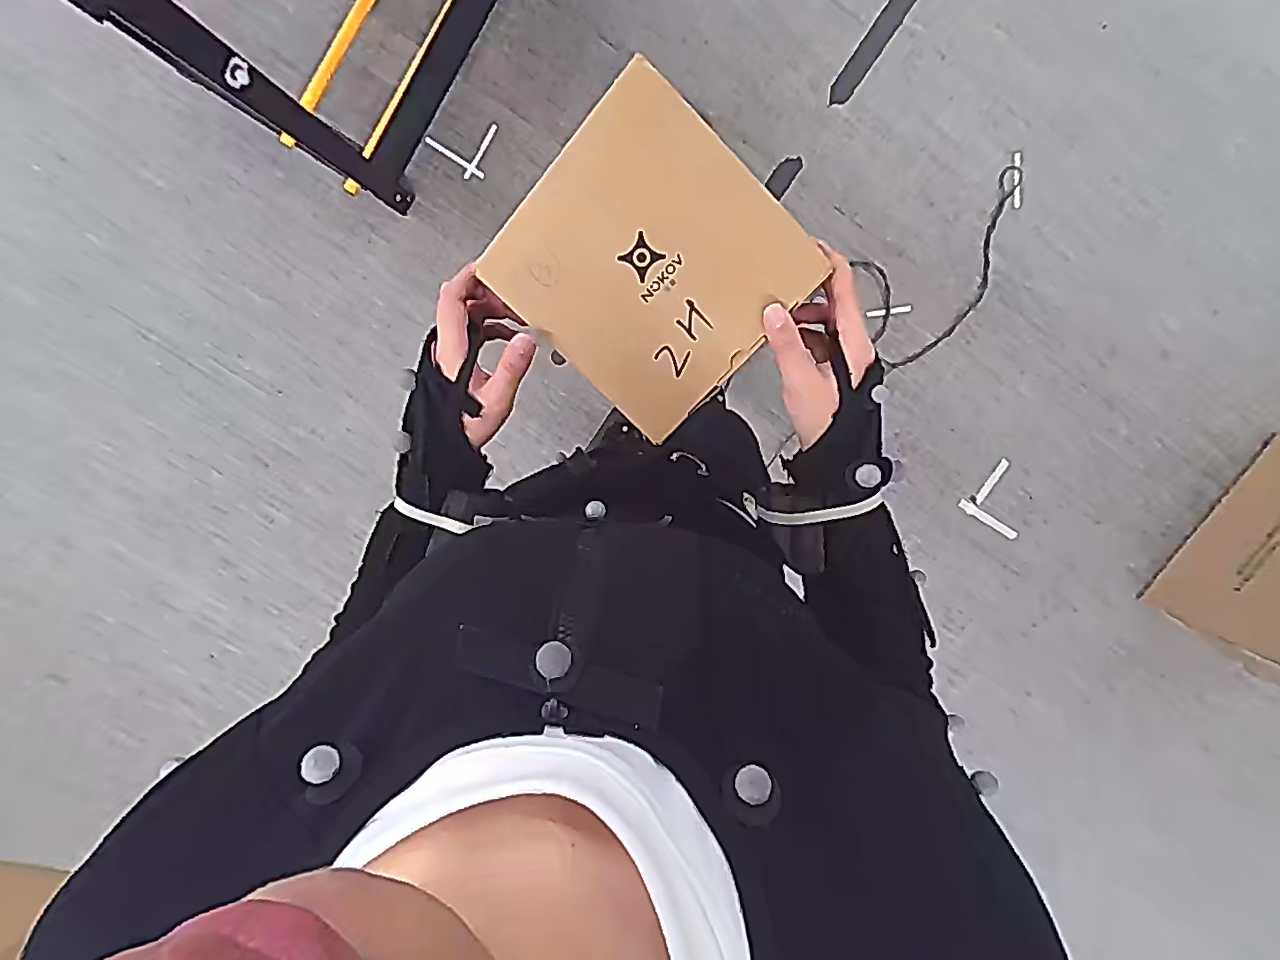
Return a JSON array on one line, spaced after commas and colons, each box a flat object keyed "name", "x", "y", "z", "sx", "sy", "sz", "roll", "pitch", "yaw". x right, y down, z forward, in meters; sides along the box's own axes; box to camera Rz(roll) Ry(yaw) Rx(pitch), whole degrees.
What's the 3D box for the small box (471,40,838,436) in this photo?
[{"name": "small box", "x": 0.012, "y": -0.164, "z": 0.416, "sx": 0.179, "sy": 0.176, "sz": 0.168, "roll": 43, "pitch": 106, "yaw": -10}]
